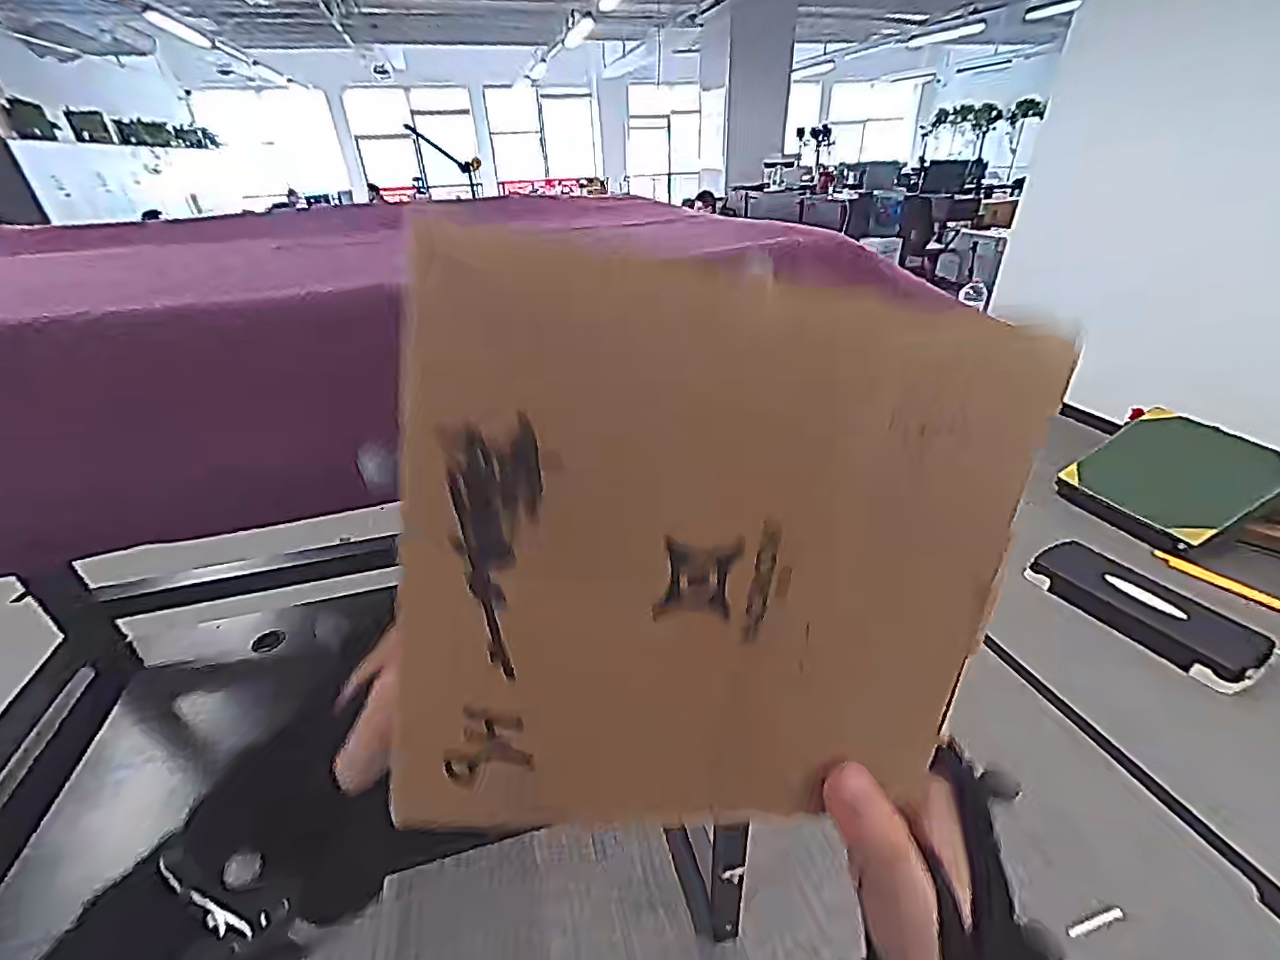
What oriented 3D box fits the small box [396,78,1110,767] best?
[{"bbox_3d":[0.015,-0.015,0.220,0.179,0.168,0.176,5,14,-12],"label":"small box"}]
